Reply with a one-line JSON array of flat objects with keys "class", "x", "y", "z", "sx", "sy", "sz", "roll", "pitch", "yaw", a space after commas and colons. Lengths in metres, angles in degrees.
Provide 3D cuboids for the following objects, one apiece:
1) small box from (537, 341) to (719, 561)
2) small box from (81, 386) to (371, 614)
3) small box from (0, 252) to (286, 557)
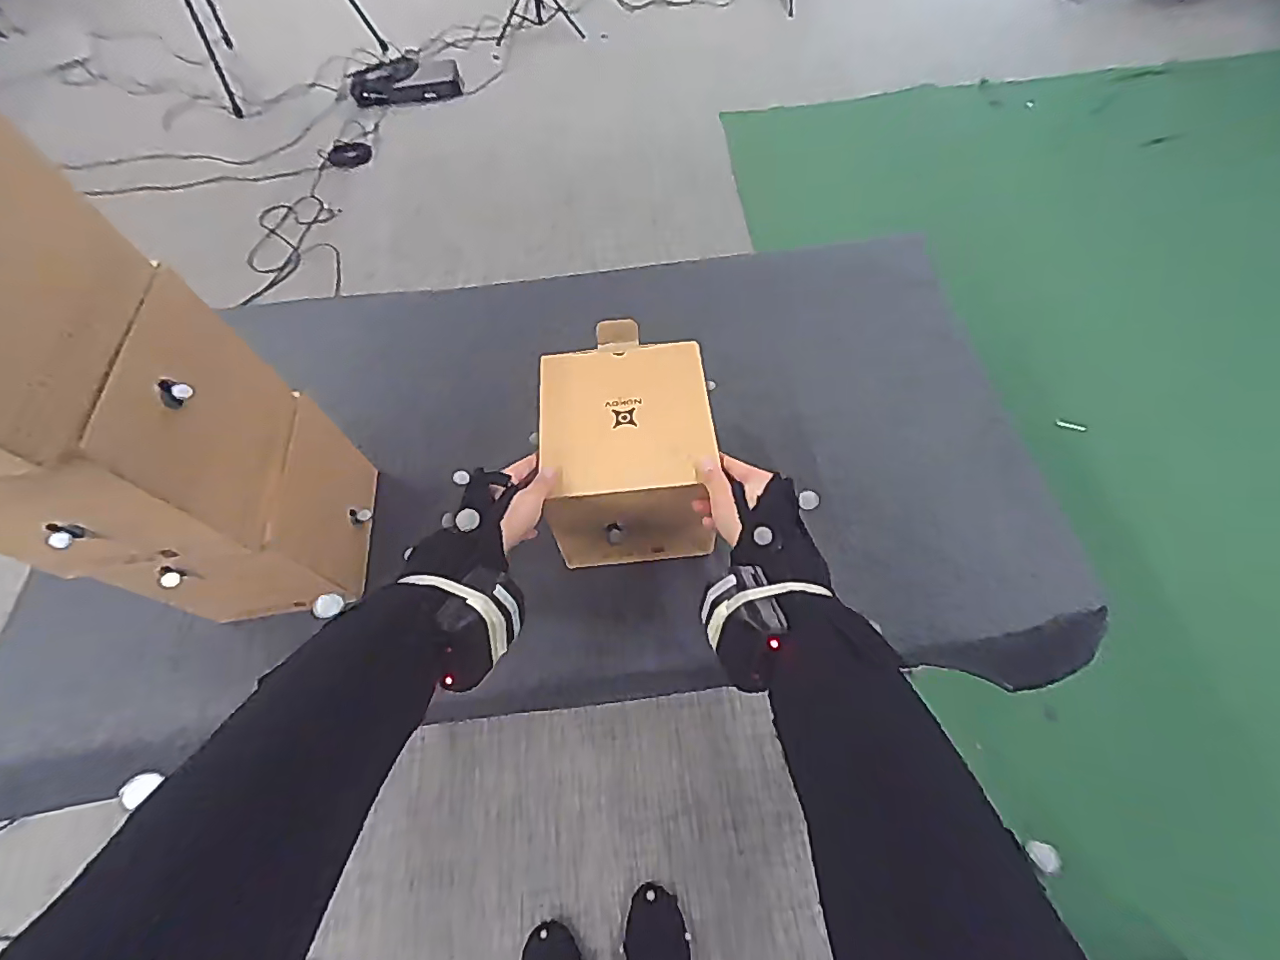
[{"class": "small box", "x": -0.011, "y": -0.022, "z": 0.583, "sx": 0.168, "sy": 0.176, "sz": 0.179, "roll": -5, "pitch": 58, "yaw": -1}, {"class": "small box", "x": -0.410, "y": 0.027, "z": 0.578, "sx": 0.168, "sy": 0.176, "sz": 0.179, "roll": -8, "pitch": 60, "yaw": -2}, {"class": "small box", "x": -0.422, "y": -0.047, "z": 0.431, "sx": 0.168, "sy": 0.176, "sz": 0.179, "roll": -7, "pitch": 61, "yaw": -2}]
